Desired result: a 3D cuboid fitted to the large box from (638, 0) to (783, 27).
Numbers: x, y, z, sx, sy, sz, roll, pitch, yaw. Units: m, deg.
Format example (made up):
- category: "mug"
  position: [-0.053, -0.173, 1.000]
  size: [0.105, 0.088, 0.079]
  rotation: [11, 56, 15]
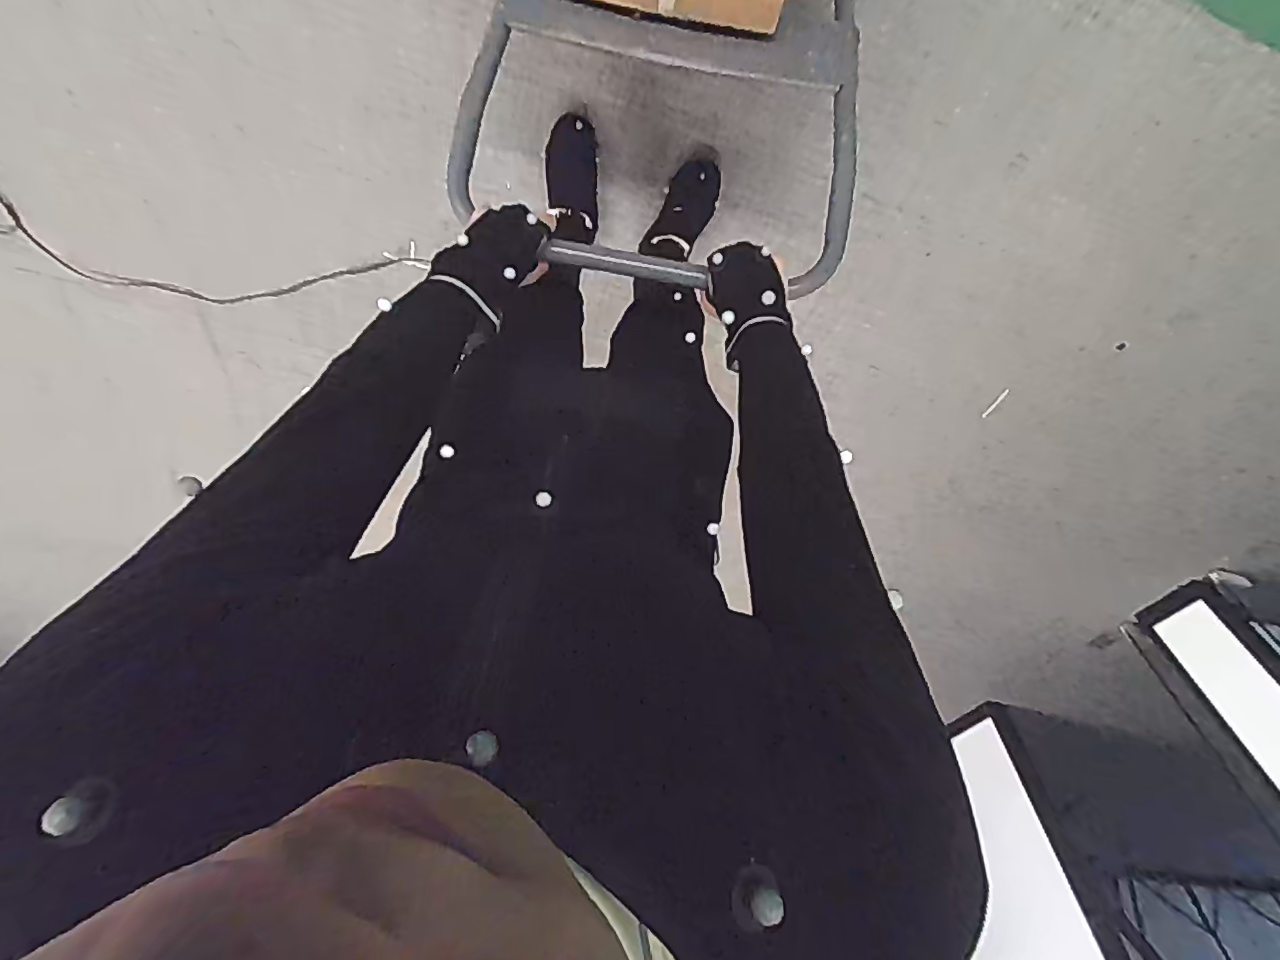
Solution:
- category: "large box"
  position: [0.079, -0.875, 0.641]
  size: [0.320, 0.320, 0.408]
  rotation: [10, 154, -3]
